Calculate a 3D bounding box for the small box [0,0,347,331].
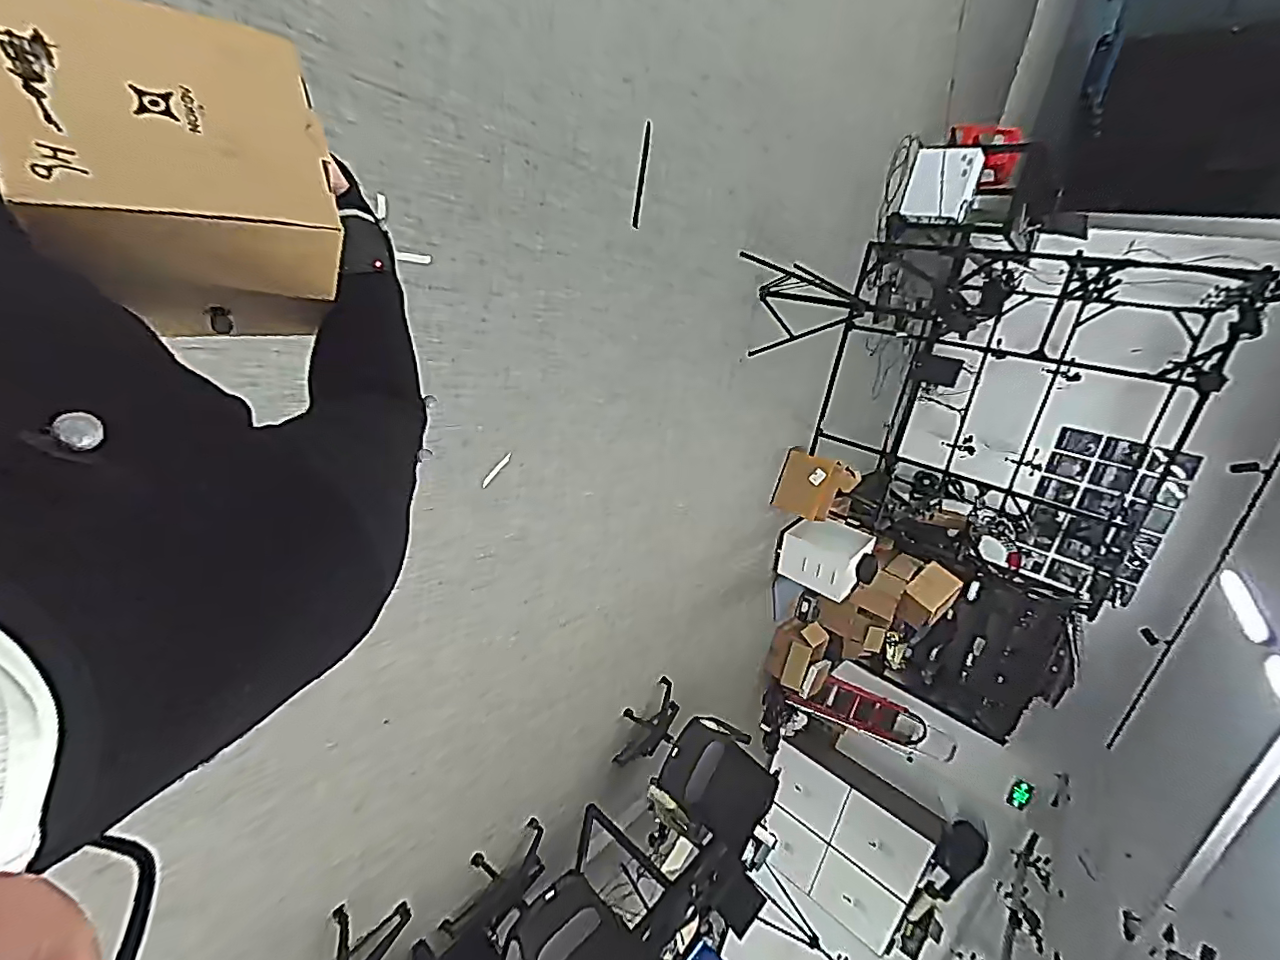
[{"bbox_3d":[-0.363,-0.236,0.446,0.179,0.176,0.168,-12,81,-36],"label":"small box"}]
